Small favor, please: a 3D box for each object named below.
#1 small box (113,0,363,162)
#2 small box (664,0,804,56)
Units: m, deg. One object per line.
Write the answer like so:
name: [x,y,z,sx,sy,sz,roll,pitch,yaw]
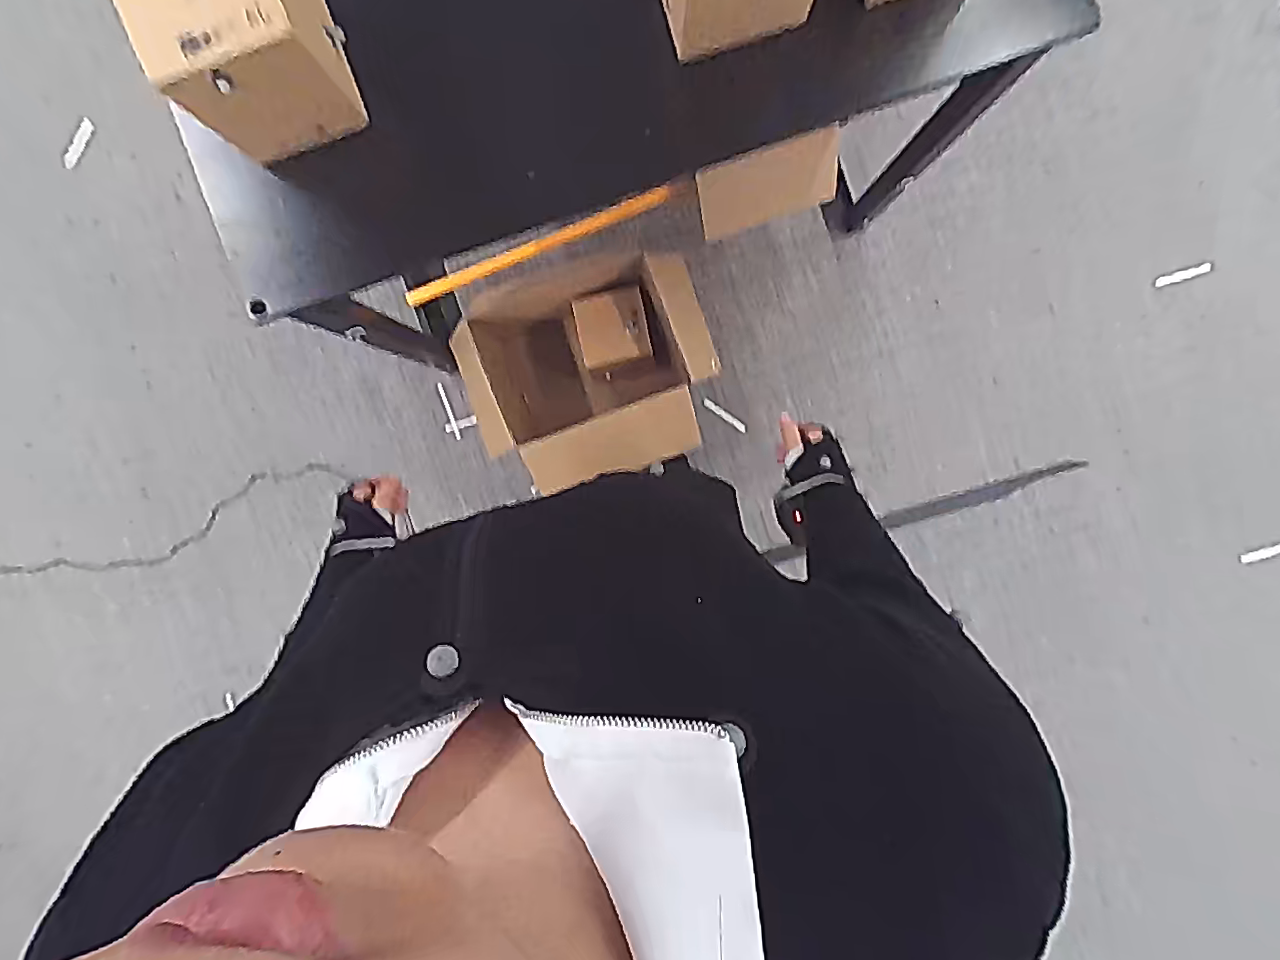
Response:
small box: [-0.468,-0.525,0.640,0.168,0.176,0.179,-19,93,1]
small box: [0.109,-0.648,0.630,0.179,0.176,0.168,-17,94,1]
